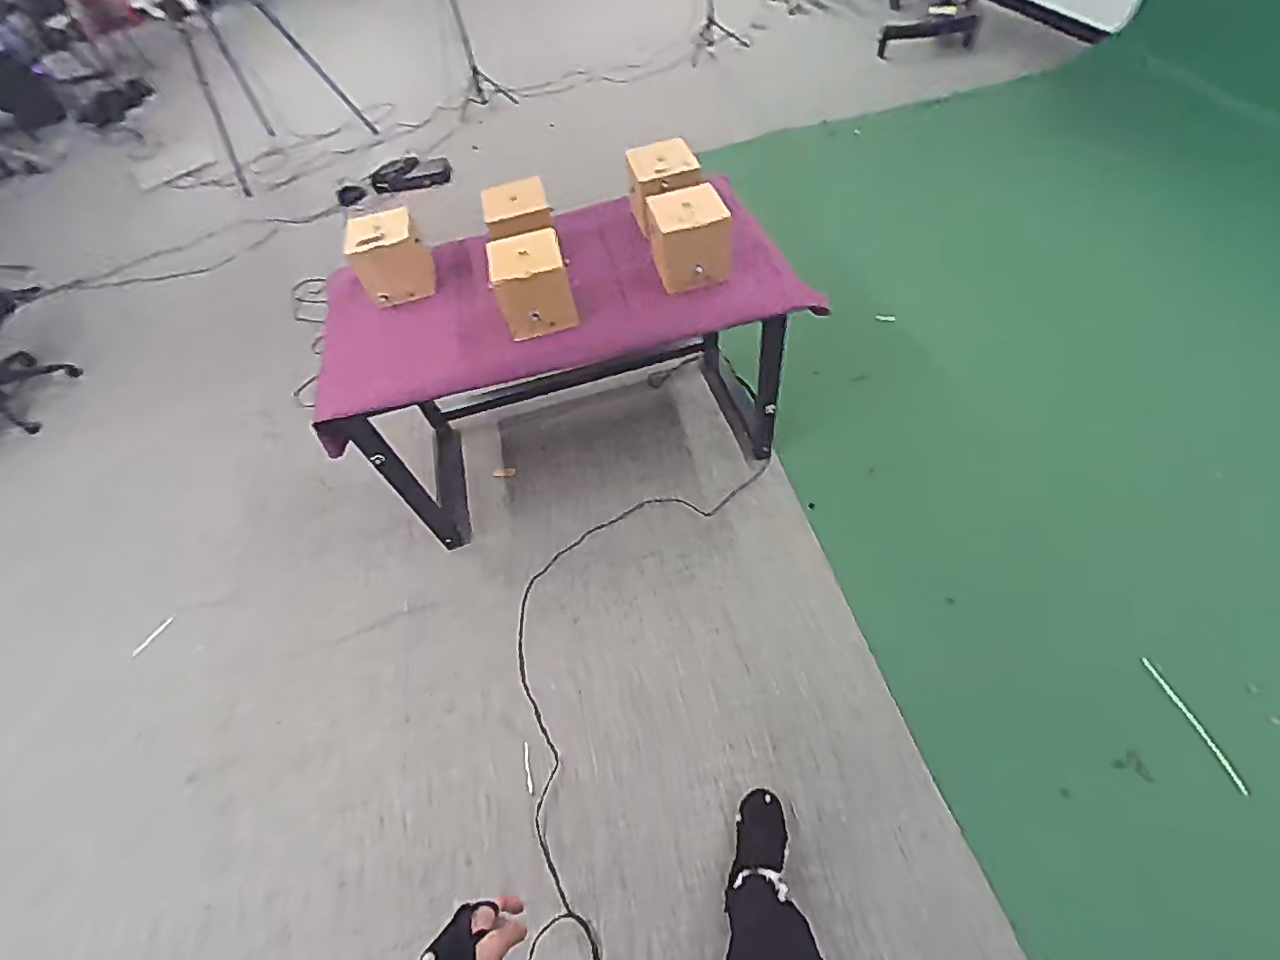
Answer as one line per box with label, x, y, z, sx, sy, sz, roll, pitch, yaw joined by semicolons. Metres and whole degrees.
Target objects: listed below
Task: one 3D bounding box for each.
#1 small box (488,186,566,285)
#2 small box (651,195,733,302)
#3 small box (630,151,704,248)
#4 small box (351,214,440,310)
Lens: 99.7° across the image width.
small box;-0.311;-0.671;1.489;0.168;0.176;0.179;-14;55;-1
small box;0.129;-0.578;1.354;0.168;0.176;0.179;-14;53;0
small box;0.076;-0.781;1.510;0.168;0.176;0.179;-15;54;-2
small box;-0.659;-0.586;1.474;0.168;0.176;0.179;-15;54;-3
